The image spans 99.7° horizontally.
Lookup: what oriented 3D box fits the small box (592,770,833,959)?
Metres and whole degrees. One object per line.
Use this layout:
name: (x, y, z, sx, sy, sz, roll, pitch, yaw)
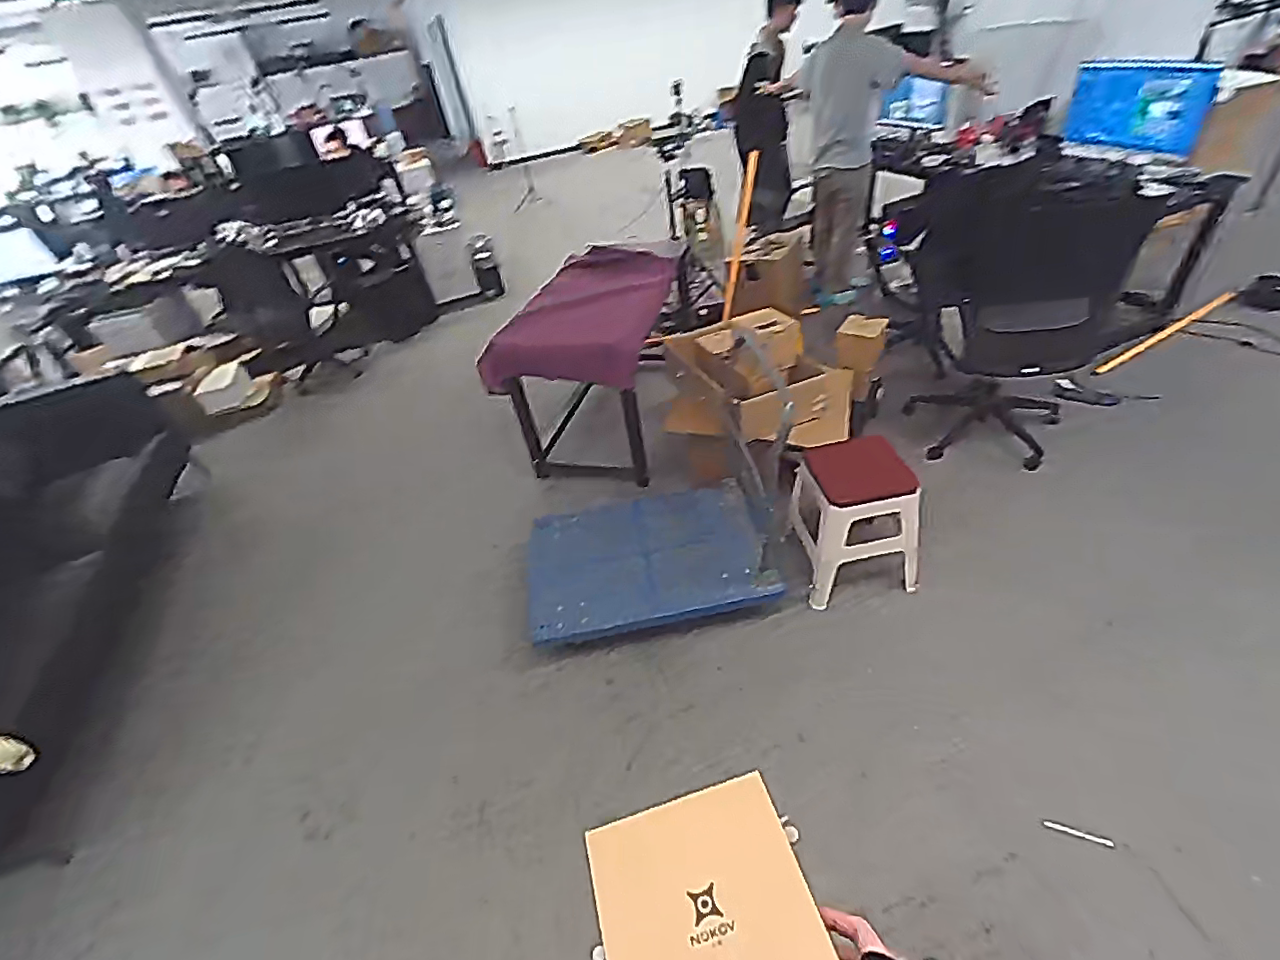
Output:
small box: (0.062, 0.400, 0.481, 0.168, 0.176, 0.179, -15, 41, -5)
